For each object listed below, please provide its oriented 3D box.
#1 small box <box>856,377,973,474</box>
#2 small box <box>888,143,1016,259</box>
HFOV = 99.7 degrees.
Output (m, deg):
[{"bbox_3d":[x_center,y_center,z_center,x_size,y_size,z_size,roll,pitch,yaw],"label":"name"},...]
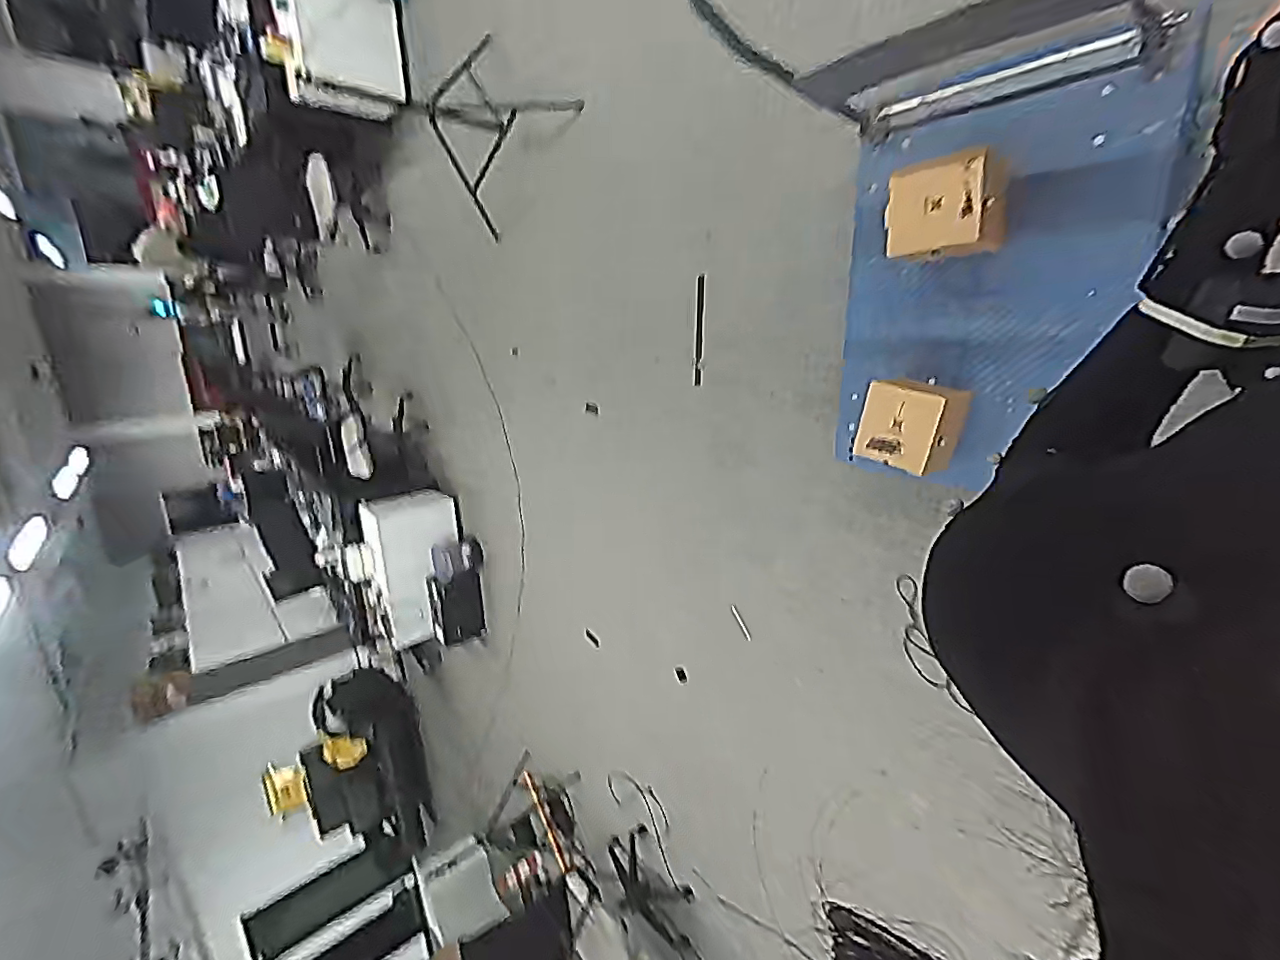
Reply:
[{"bbox_3d":[0.630,-0.132,1.238,0.168,0.176,0.179,27,119,42],"label":"small box"},{"bbox_3d":[0.636,-0.558,1.108,0.179,0.176,0.168,10,109,49],"label":"small box"}]
